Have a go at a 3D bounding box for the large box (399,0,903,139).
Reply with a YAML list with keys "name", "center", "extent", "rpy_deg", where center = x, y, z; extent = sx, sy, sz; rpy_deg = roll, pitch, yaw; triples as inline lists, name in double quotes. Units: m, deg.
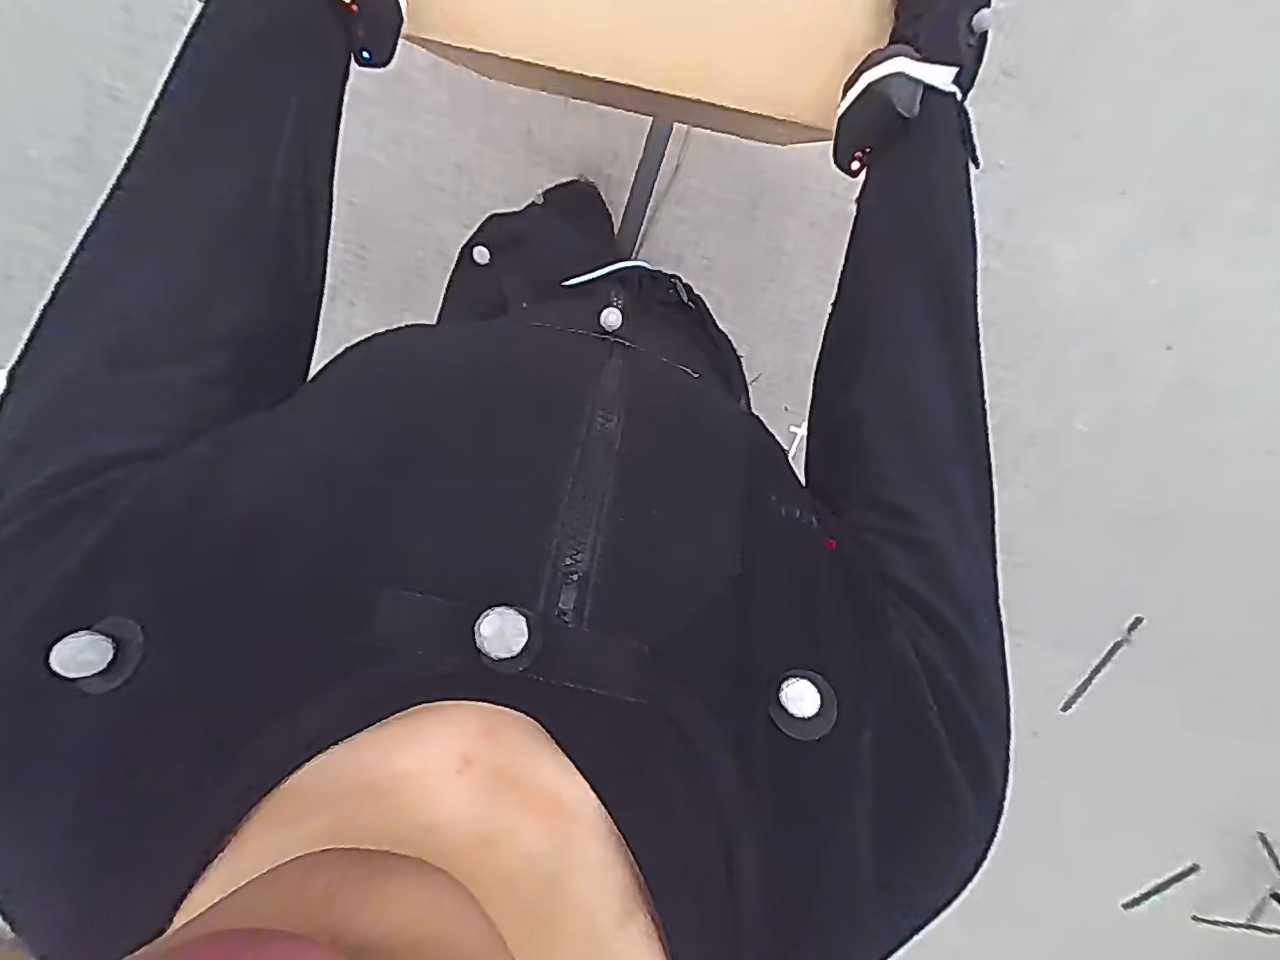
- name: "large box"
  center: [0.023, -0.539, 0.506]
  extent: [0.408, 0.320, 0.320]
  rpy_deg: [9, 121, -6]
